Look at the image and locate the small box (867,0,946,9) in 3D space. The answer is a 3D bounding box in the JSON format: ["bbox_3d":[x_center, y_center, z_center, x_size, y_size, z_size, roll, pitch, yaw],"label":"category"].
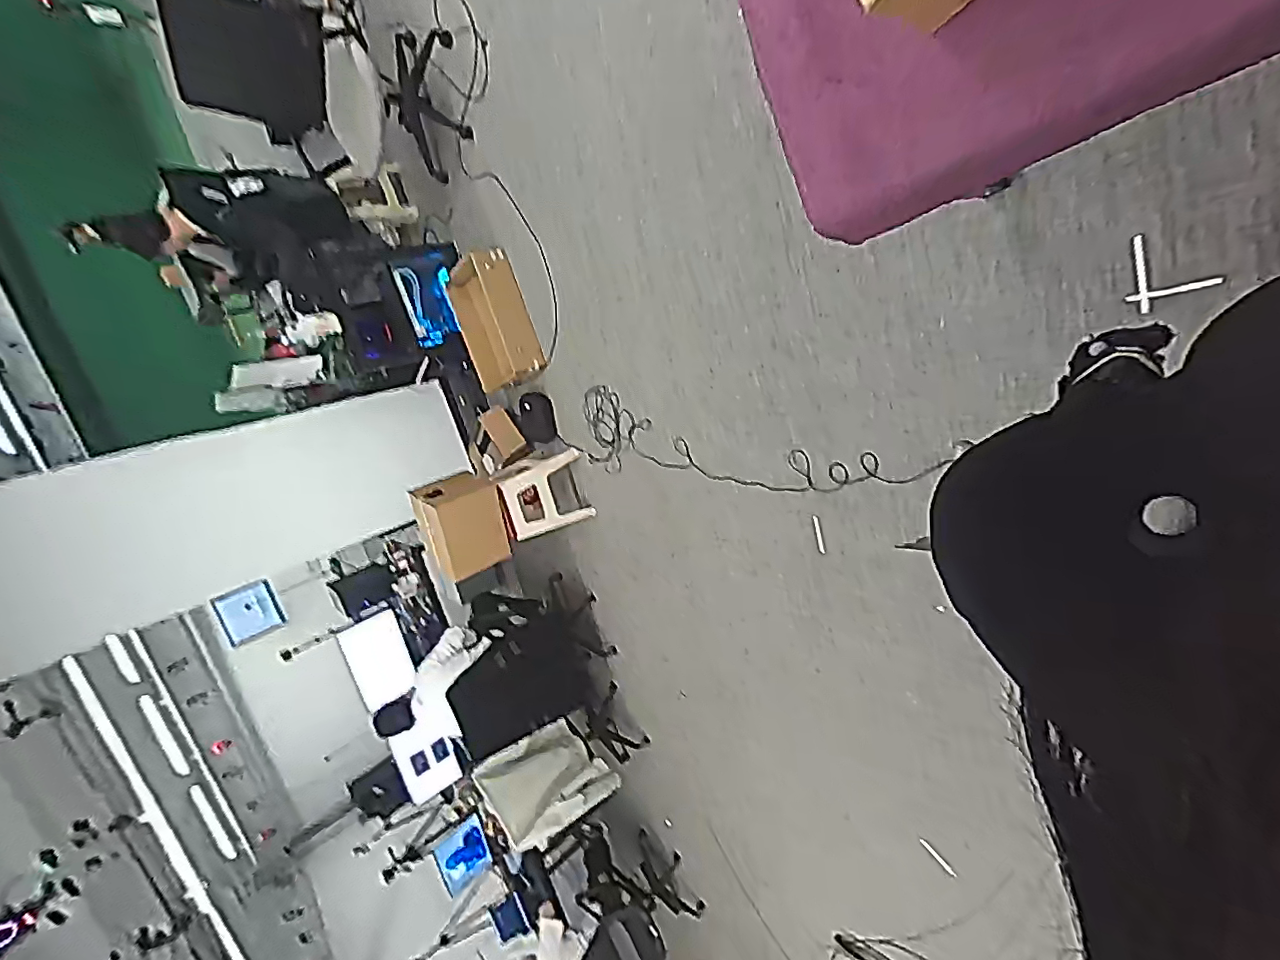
[{"bbox_3d":[0.283,-0.584,0.497,0.168,0.176,0.179,-21,95,53],"label":"small box"}]
